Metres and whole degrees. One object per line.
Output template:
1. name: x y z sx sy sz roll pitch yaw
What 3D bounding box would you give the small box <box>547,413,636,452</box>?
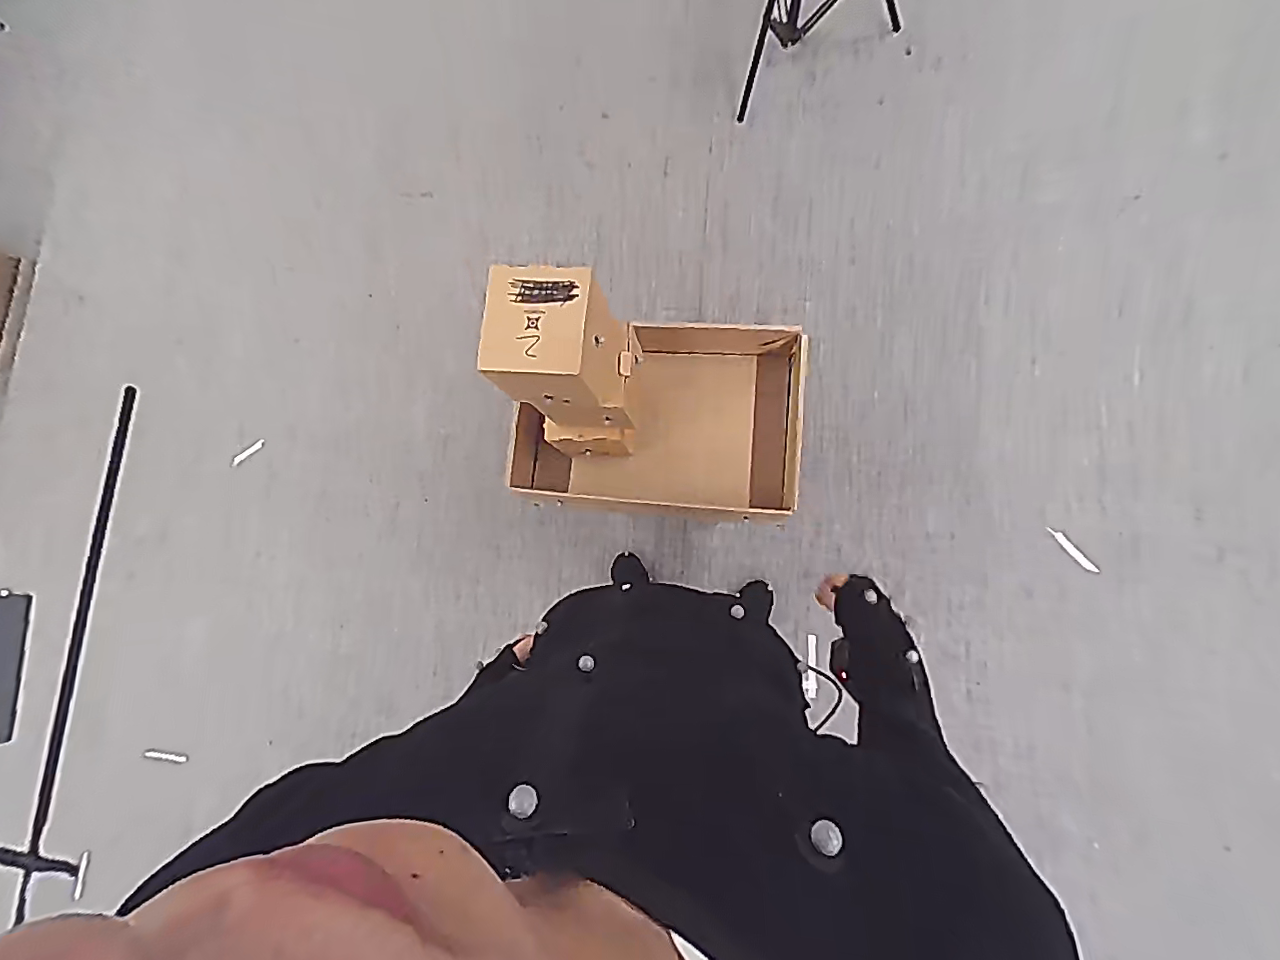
1. small box: -0.103 -0.164 1.214 0.168 0.176 0.179 -1 82 8

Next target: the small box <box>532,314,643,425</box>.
1. small box: -0.093 -0.207 1.052 0.179 0.176 0.168 4 82 8
